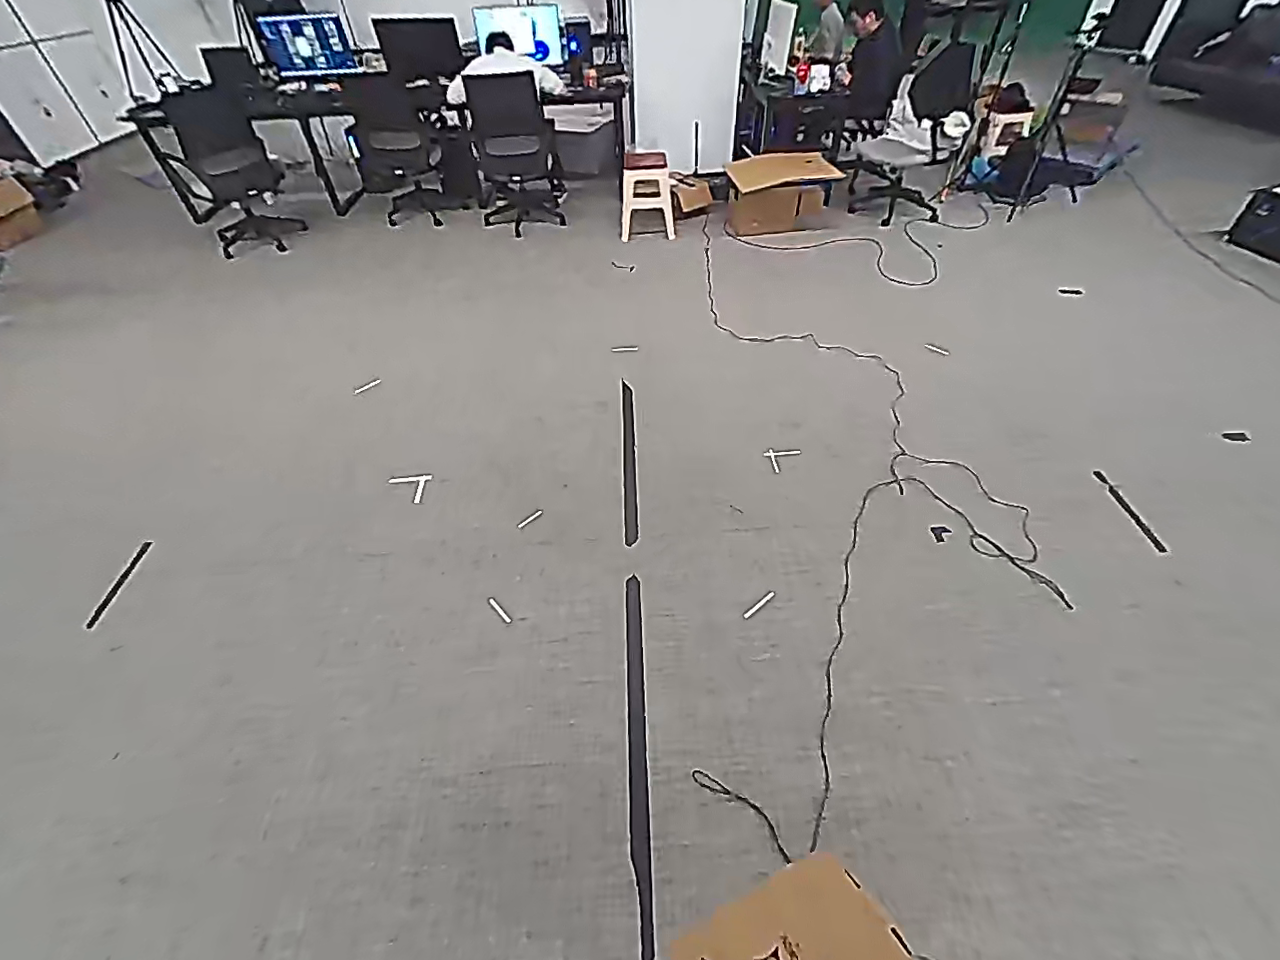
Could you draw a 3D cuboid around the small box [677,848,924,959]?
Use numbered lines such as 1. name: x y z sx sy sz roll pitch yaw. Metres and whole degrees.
1. small box: 0.152 0.461 0.437 0.179 0.168 0.176 -23 88 -8
